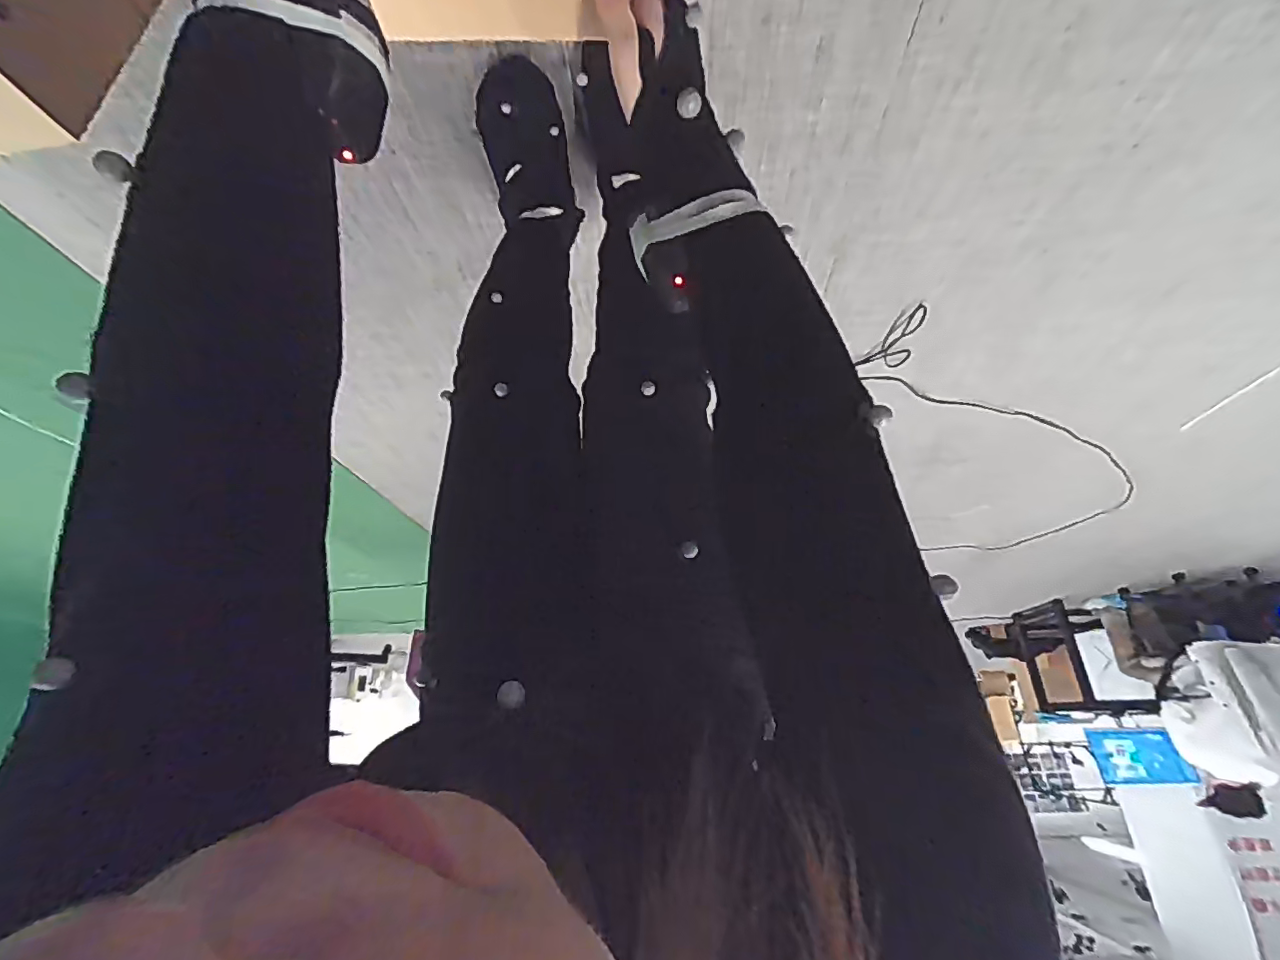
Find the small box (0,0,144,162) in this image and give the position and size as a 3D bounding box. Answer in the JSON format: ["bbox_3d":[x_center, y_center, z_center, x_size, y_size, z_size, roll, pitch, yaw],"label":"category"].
[{"bbox_3d":[-0.545,-0.375,0.409,0.168,0.176,0.179,-5,155,5],"label":"small box"}]

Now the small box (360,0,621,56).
[{"bbox_3d":[-0.099,-0.412,0.347,0.179,0.176,0.168,-1,155,-1],"label":"small box"}]
